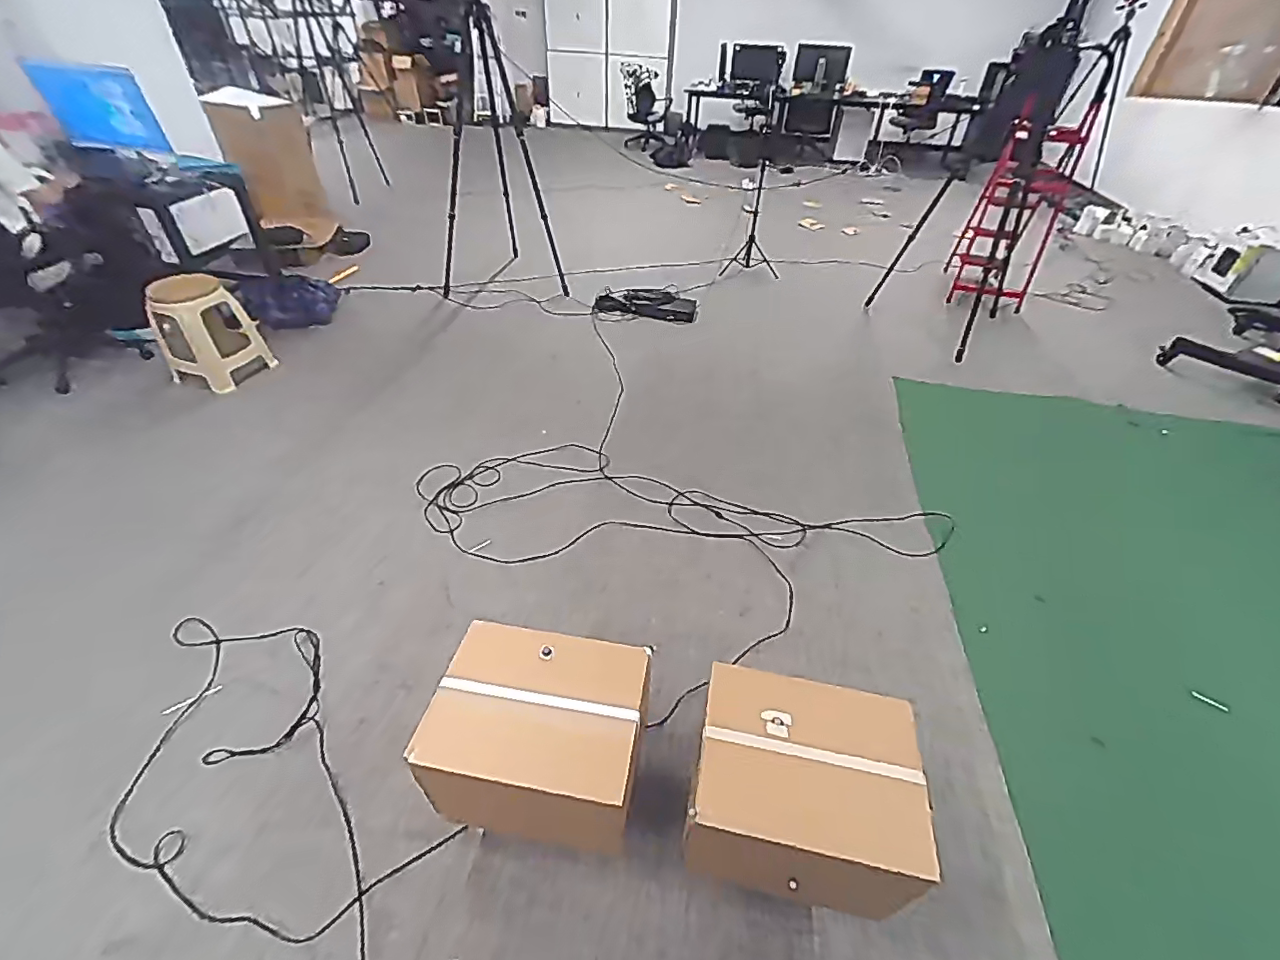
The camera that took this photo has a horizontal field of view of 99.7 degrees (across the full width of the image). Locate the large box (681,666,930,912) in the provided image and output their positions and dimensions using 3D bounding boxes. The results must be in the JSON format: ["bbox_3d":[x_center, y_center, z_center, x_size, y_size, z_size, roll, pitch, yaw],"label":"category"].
[{"bbox_3d":[0.313,0.636,1.121,0.408,0.320,0.320,9,42,8],"label":"large box"}]
